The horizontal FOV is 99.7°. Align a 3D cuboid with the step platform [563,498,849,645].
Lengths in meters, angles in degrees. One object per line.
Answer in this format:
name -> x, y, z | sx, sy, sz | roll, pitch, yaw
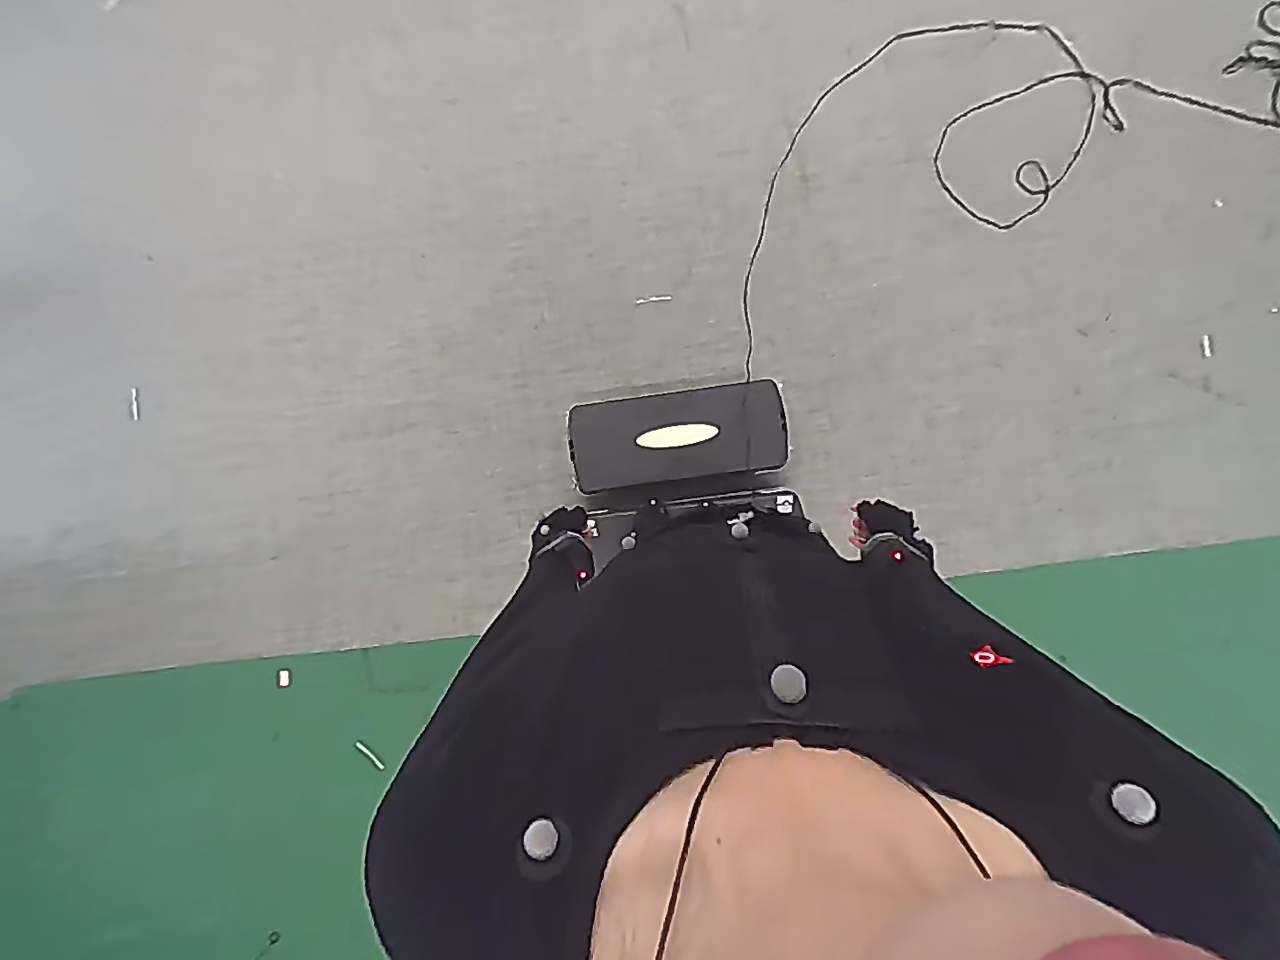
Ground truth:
step platform -> 0.156, 0.227, 1.389 | 0.684, 0.204, 0.286 | -7, 86, 1
